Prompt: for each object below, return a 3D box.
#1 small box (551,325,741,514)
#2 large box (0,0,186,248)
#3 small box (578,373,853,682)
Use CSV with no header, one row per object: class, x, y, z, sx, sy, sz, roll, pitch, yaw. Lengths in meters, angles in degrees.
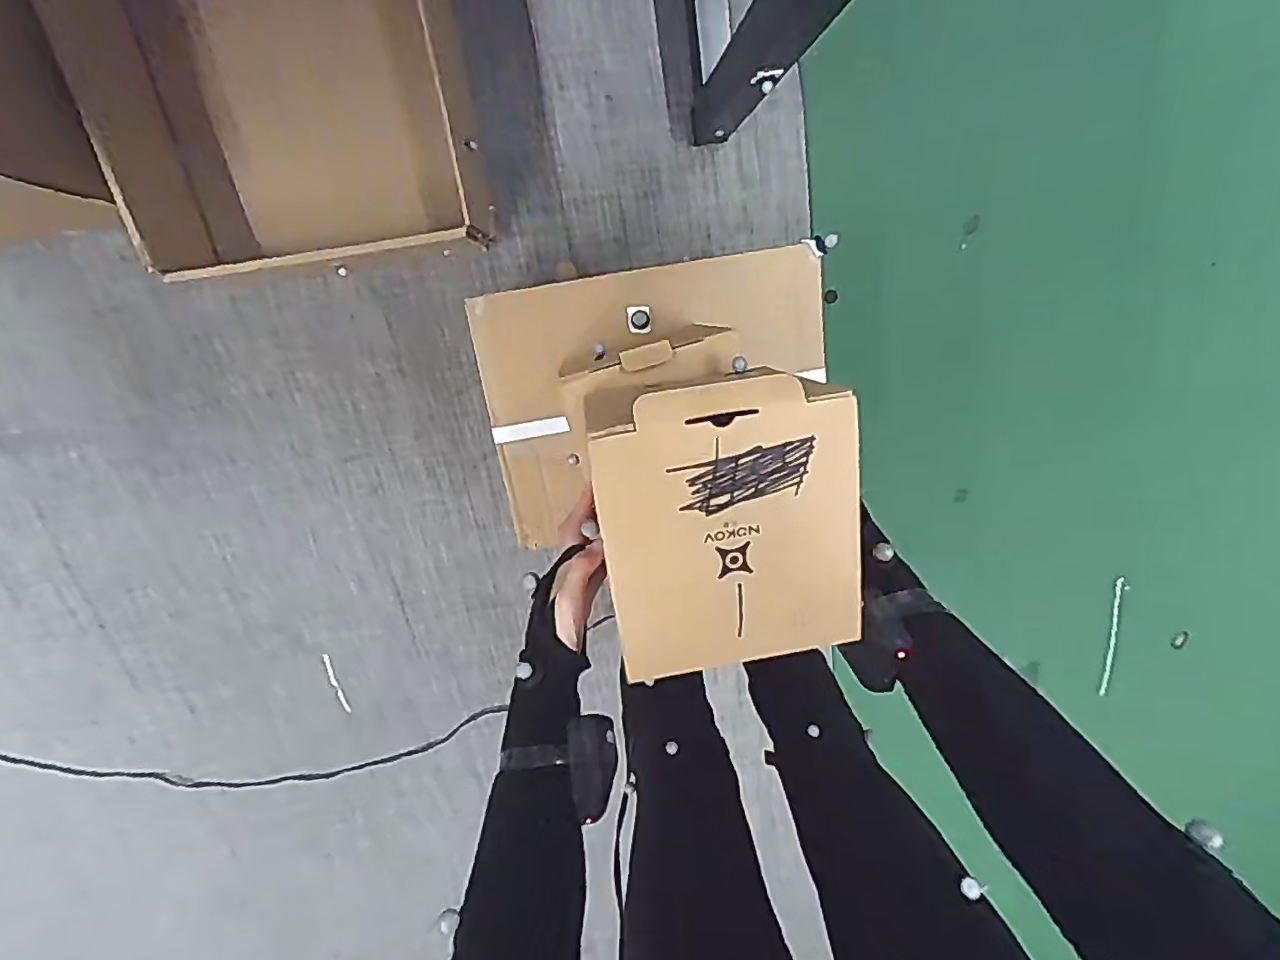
small box,0.012,-0.054,0.560,0.168,0.176,0.179,-16,109,-1
large box,-0.825,-0.495,0.584,0.320,0.320,0.408,-11,109,-3
small box,0.045,0.018,0.413,0.168,0.176,0.179,-9,108,-3
